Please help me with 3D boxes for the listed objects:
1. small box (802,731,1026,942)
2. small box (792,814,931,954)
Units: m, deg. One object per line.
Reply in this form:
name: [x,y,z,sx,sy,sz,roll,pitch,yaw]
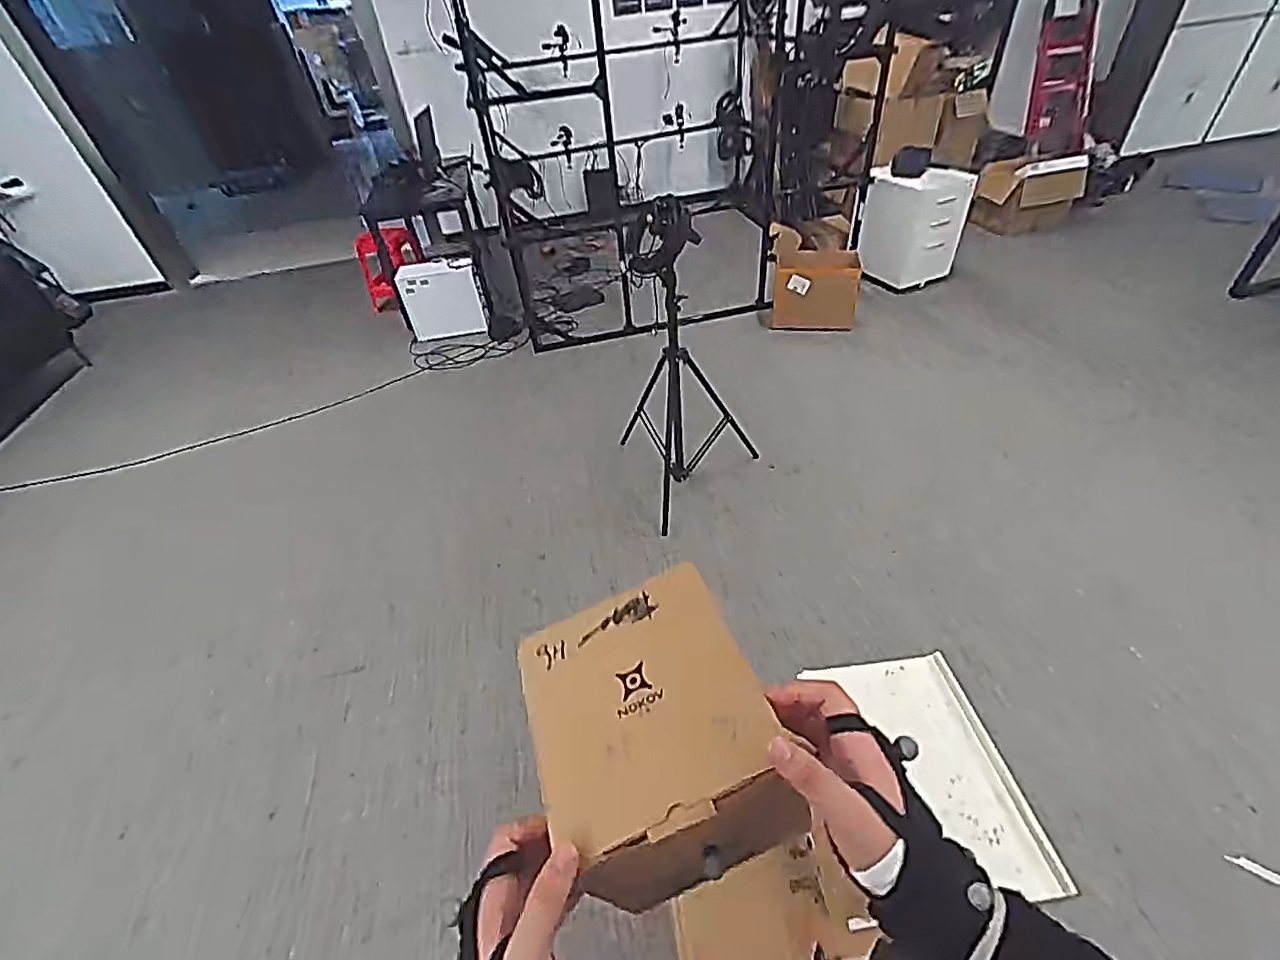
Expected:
small box: [0.316,0.443,0.674,0.168,0.176,0.179,-6,43,-3]
small box: [0.342,0.560,0.789,0.179,0.176,0.168,-9,43,-5]
